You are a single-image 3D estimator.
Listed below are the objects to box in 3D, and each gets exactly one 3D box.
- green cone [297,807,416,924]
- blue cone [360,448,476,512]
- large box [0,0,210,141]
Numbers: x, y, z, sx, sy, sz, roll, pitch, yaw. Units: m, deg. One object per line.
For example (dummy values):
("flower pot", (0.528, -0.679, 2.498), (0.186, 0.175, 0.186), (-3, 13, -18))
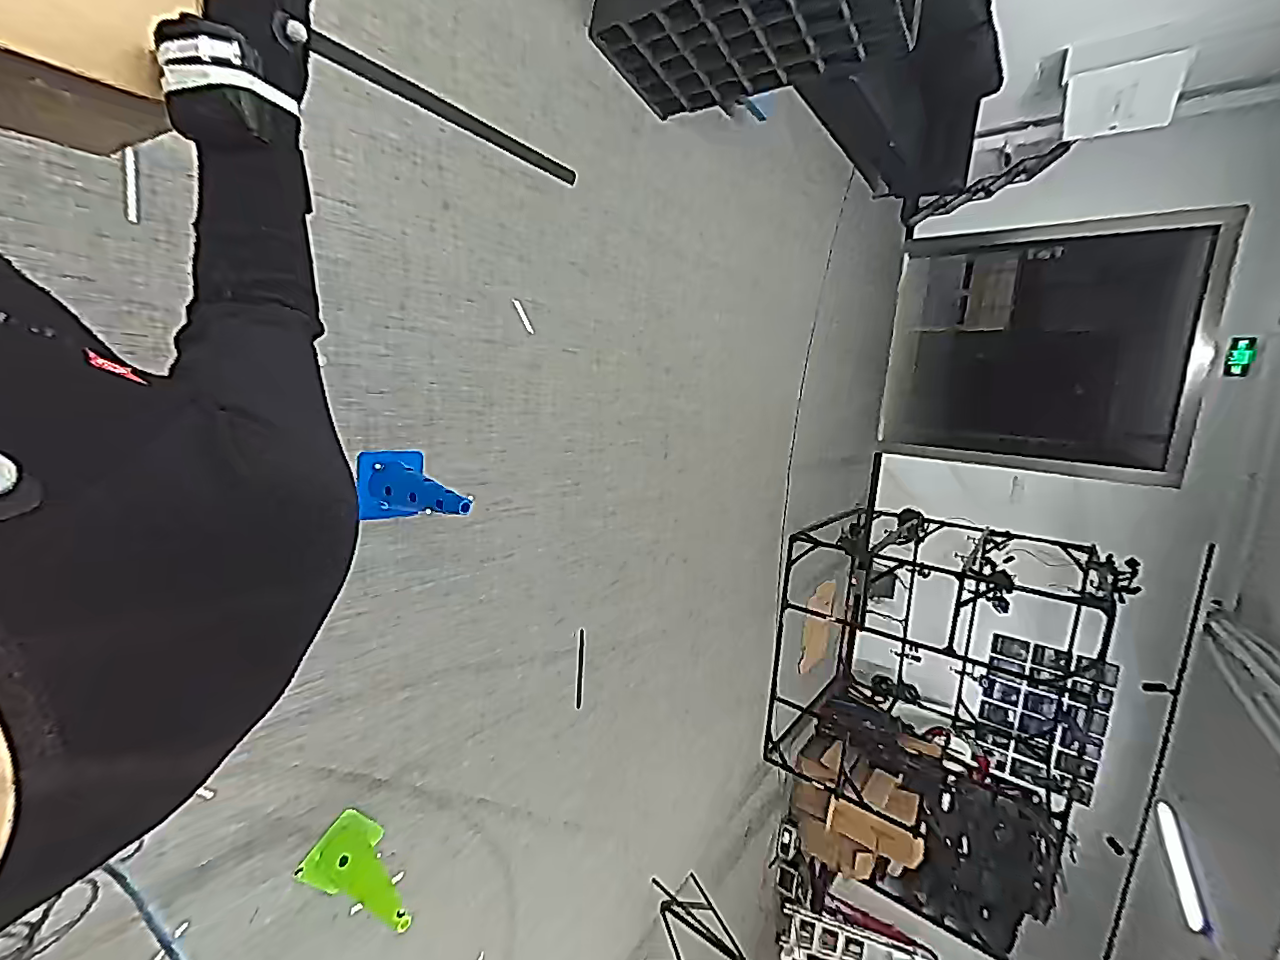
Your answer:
("green cone", (-0.763, 1.144, 1.542), (0.202, 0.368, 0.200), (-53, 138, -34))
("blue cone", (-0.596, 0.026, 1.500), (0.192, 0.380, 0.193), (-3, 101, -55))
("large box", (-0.533, -0.435, 0.284), (0.408, 0.320, 0.320), (-10, 113, -54))
